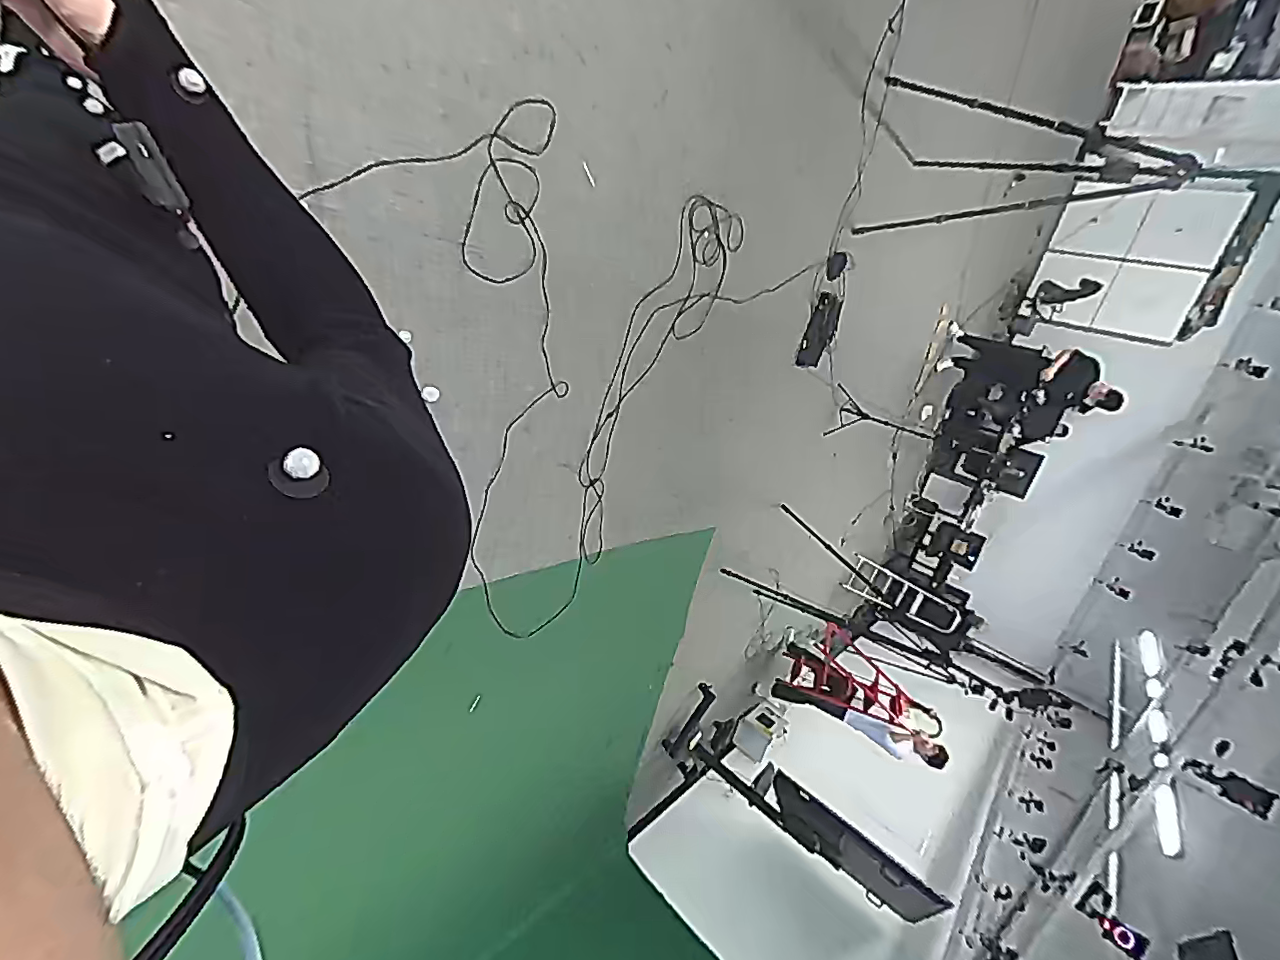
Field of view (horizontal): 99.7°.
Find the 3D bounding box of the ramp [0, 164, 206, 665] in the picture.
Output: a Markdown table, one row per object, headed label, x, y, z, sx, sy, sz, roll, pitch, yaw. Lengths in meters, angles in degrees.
| label | x | y | z | sx | sy | sz | roll | pitch | yaw |
| --- | --- | --- | --- | --- | --- | --- | --- | --- | --- |
| ramp | -1.244 | -0.104 | 1.107 | 0.509 | 0.206 | 0.991 | -11 | 120 | -46 |
